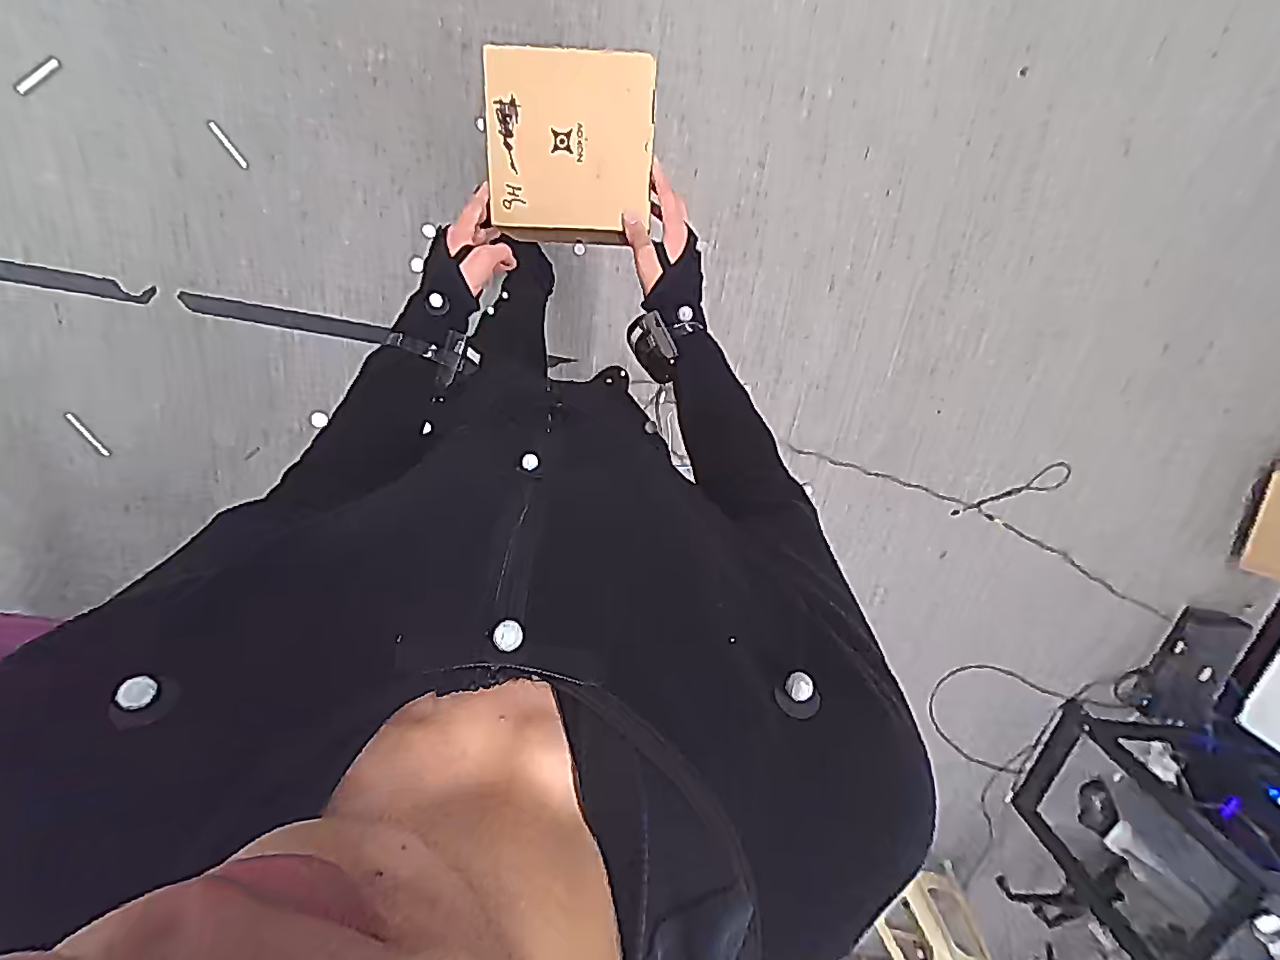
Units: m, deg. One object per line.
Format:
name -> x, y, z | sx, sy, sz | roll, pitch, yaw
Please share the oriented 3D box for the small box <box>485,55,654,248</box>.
small box -> -0.080, -0.379, 0.655 | 0.179, 0.176, 0.168 | 2, 109, -3
